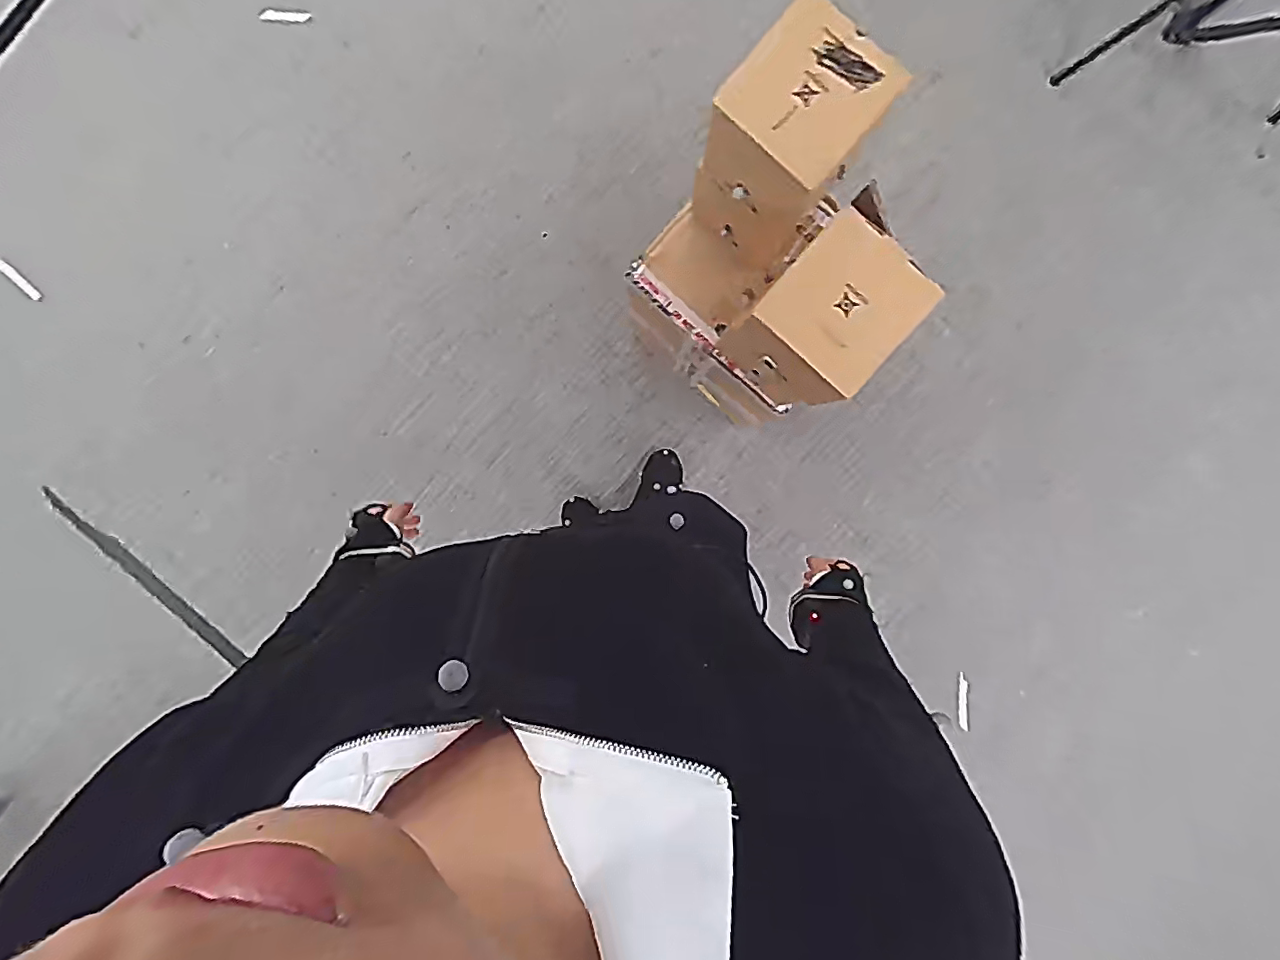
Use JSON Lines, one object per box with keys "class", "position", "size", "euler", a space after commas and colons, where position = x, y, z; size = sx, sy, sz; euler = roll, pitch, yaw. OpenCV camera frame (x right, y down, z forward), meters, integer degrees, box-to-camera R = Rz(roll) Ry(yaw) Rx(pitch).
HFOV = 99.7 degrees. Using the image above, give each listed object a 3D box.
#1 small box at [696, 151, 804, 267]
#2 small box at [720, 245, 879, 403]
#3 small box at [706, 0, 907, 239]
{"class": "small box", "position": [0.202, -0.488, 0.883], "size": [0.168, 0.176, 0.179], "euler": [39, 95, 0]}
{"class": "small box", "position": [0.250, -0.244, 0.901], "size": [0.168, 0.176, 0.179], "euler": [42, 94, -3]}
{"class": "small box", "position": [0.203, -0.464, 0.720], "size": [0.168, 0.176, 0.179], "euler": [43, 95, 0]}
